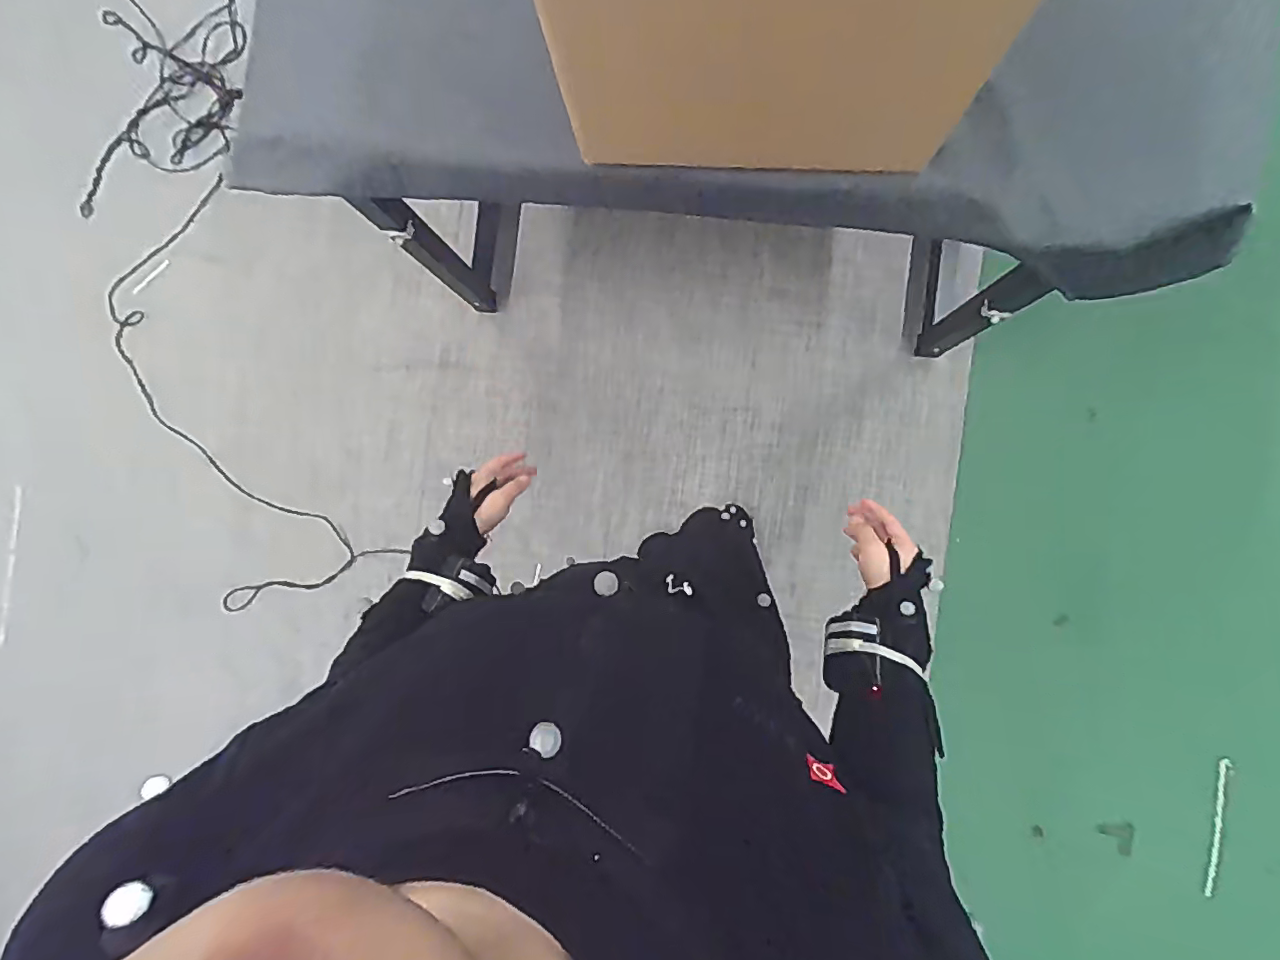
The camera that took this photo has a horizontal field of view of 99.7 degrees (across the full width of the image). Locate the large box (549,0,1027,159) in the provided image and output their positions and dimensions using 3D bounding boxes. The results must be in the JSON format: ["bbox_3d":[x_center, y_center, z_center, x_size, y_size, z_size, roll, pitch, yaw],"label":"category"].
[{"bbox_3d":[0.128,-0.540,0.505,0.408,0.320,0.320,4,88,4],"label":"large box"}]
